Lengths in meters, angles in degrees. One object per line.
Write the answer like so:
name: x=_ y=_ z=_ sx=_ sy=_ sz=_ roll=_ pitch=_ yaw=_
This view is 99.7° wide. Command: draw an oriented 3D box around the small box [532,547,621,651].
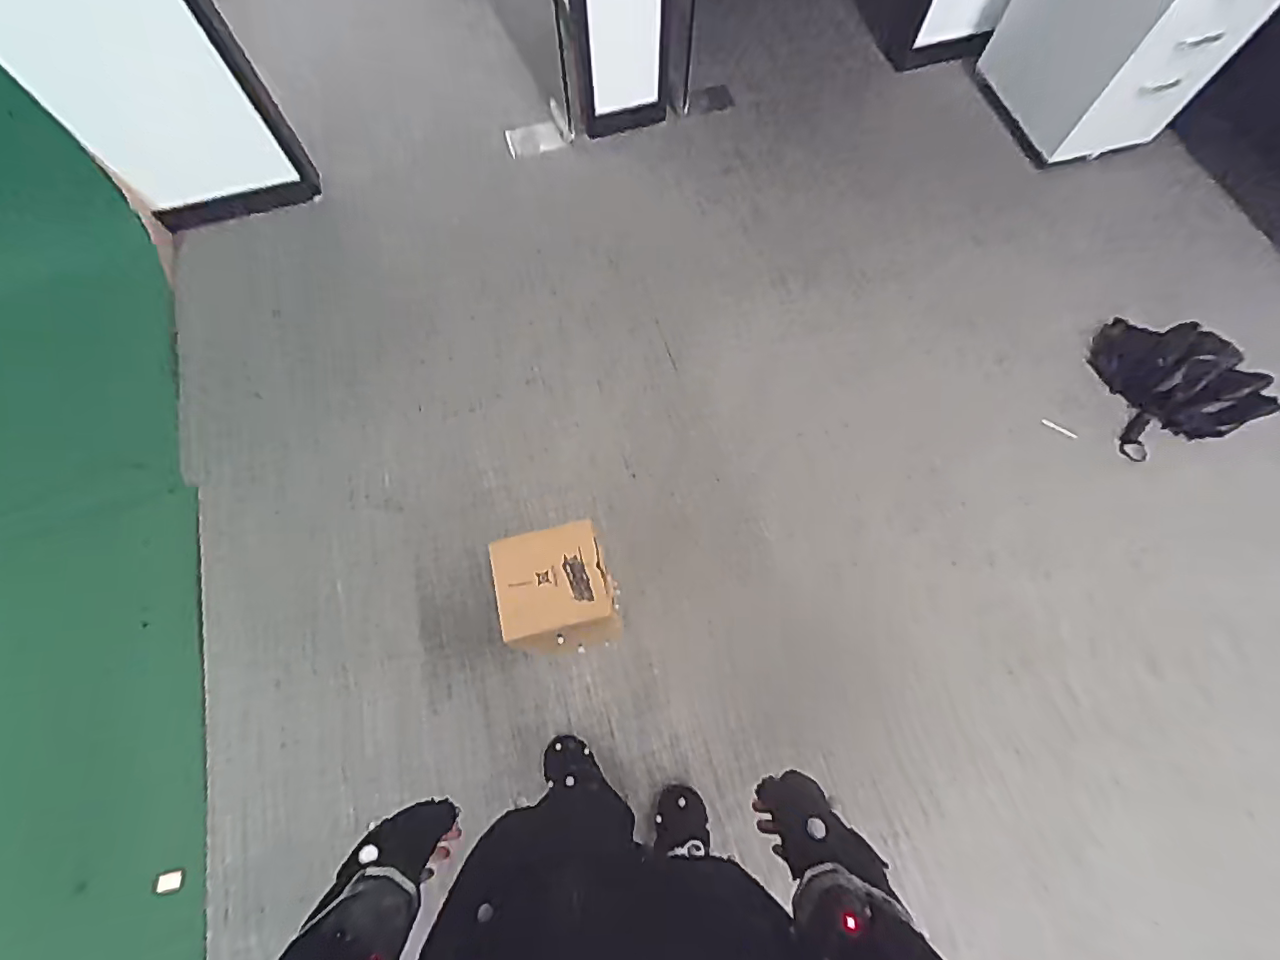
small box: x=-0.138 y=0.248 z=1.106 sx=0.179 sy=0.176 sz=0.168 roll=-11 pitch=69 yaw=-4

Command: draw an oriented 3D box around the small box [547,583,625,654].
small box: x=-0.138 y=0.300 z=1.261 sx=0.179 sy=0.176 sz=0.168 roll=-16 pitch=69 yaw=-4

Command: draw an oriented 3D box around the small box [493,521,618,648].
small box: x=-0.142 y=0.189 z=0.952 sx=0.179 sy=0.176 sz=0.168 roll=-15 pitch=70 yaw=-7
